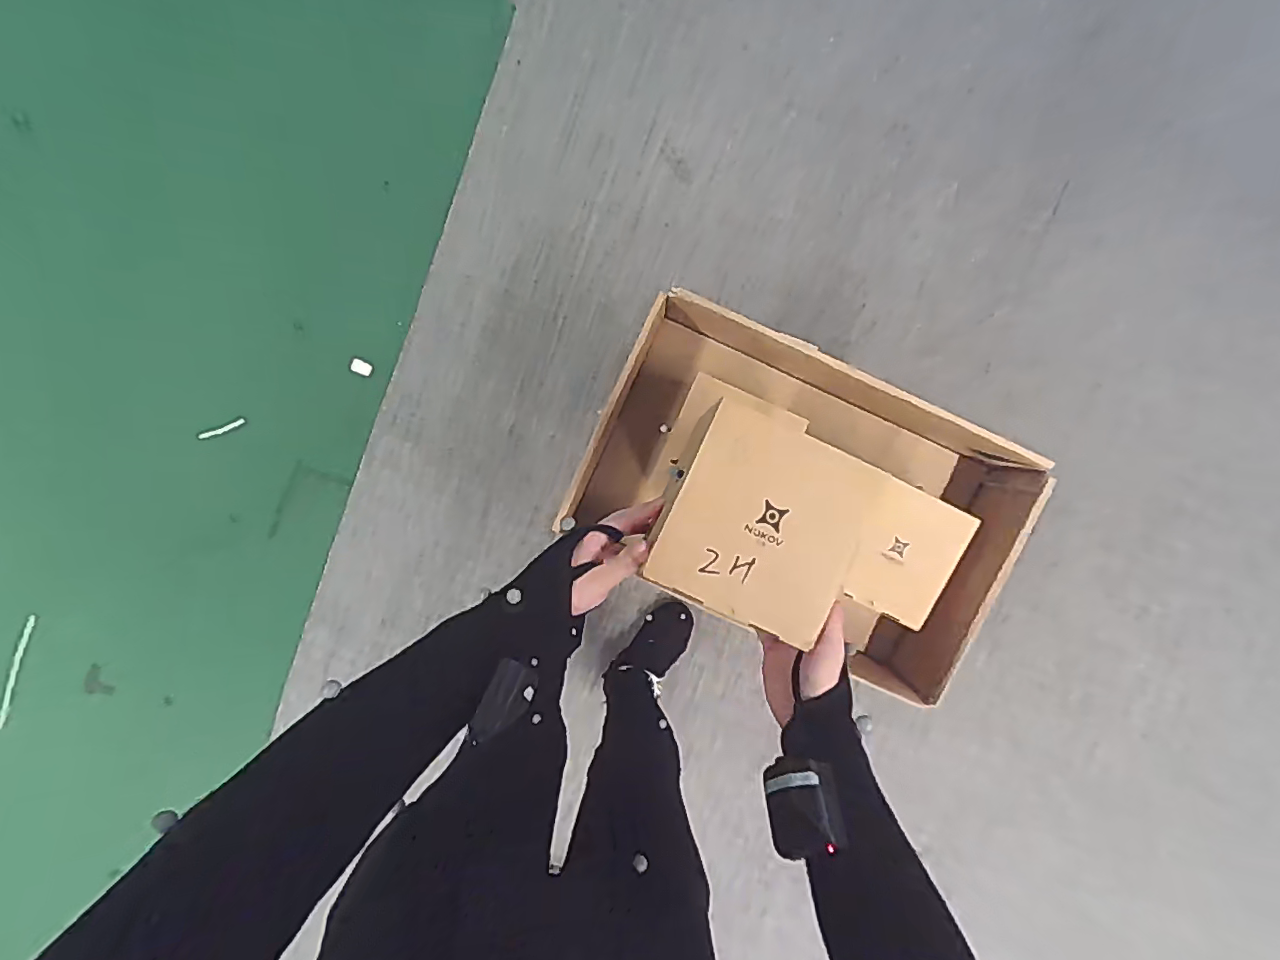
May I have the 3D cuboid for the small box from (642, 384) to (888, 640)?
[{"bbox_3d":[0.106,0.027,0.545,0.168,0.176,0.179,25,90,0],"label":"small box"}]

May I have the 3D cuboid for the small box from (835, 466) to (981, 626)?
[{"bbox_3d":[0.349,0.081,0.805,0.168,0.176,0.179,26,95,-1],"label":"small box"}]
